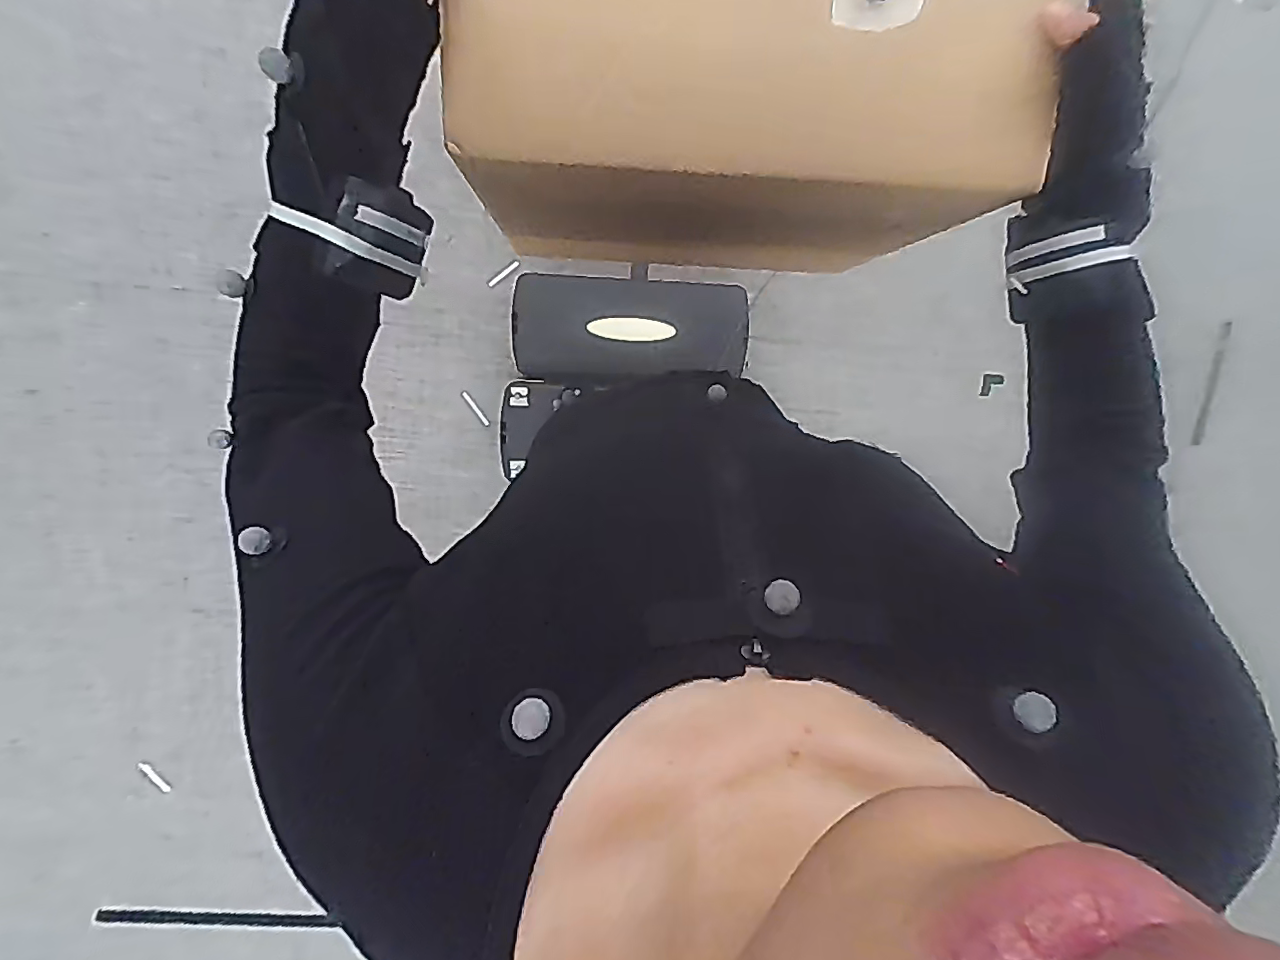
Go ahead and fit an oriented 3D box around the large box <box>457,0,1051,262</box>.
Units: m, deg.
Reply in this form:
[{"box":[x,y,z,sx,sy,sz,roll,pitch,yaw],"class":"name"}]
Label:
[{"box":[0.067,-0.392,0.489,0.408,0.320,0.320,0,102,-6],"class":"large box"}]
